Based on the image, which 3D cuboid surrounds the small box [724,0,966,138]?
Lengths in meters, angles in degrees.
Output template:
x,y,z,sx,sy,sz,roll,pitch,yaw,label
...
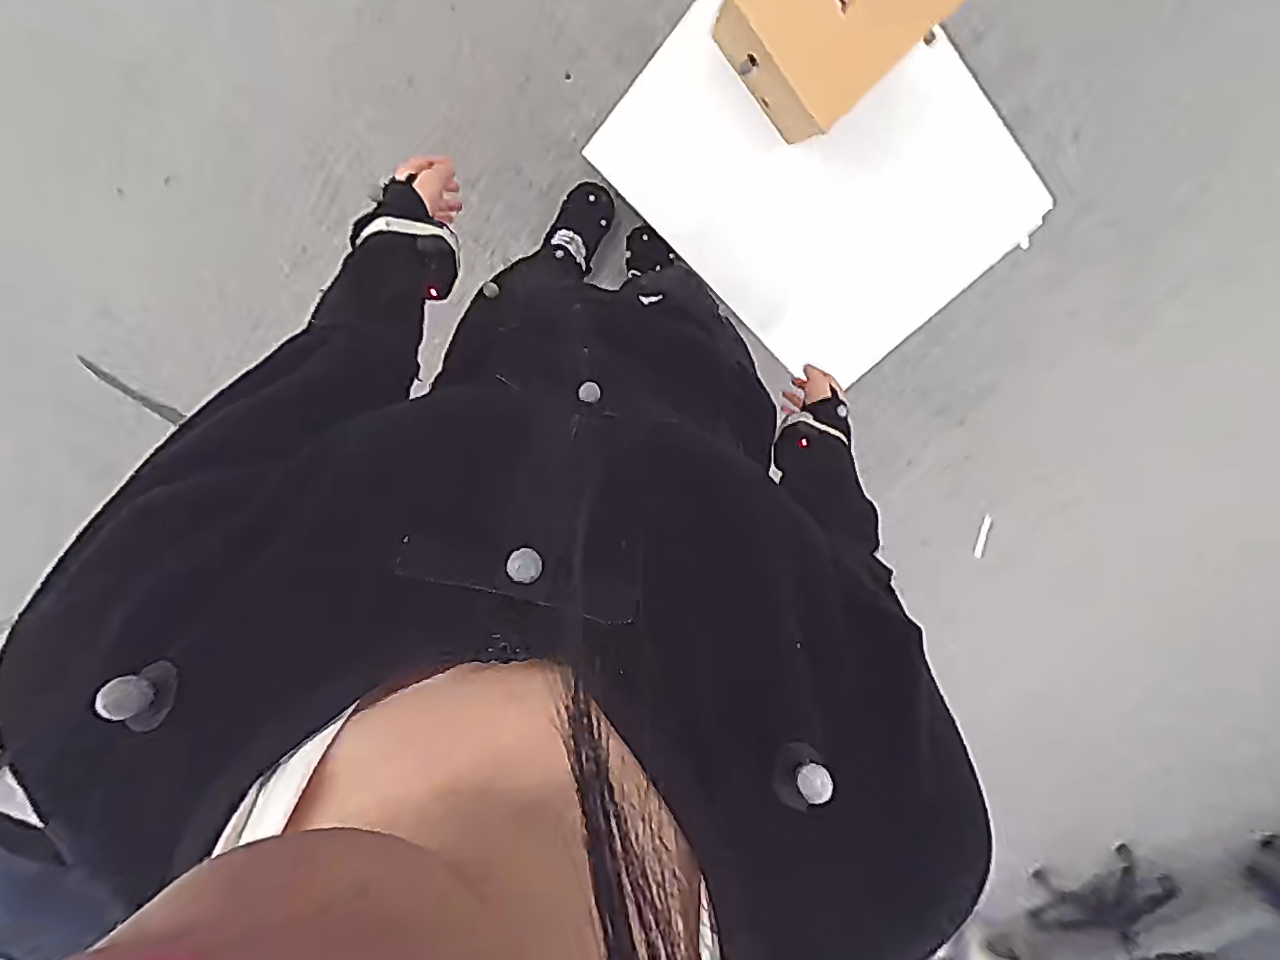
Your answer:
x,y,z,sx,sy,sz,roll,pitch,yaw,label
0.204,-0.502,0.576,0.179,0.176,0.168,-40,111,19,small box
